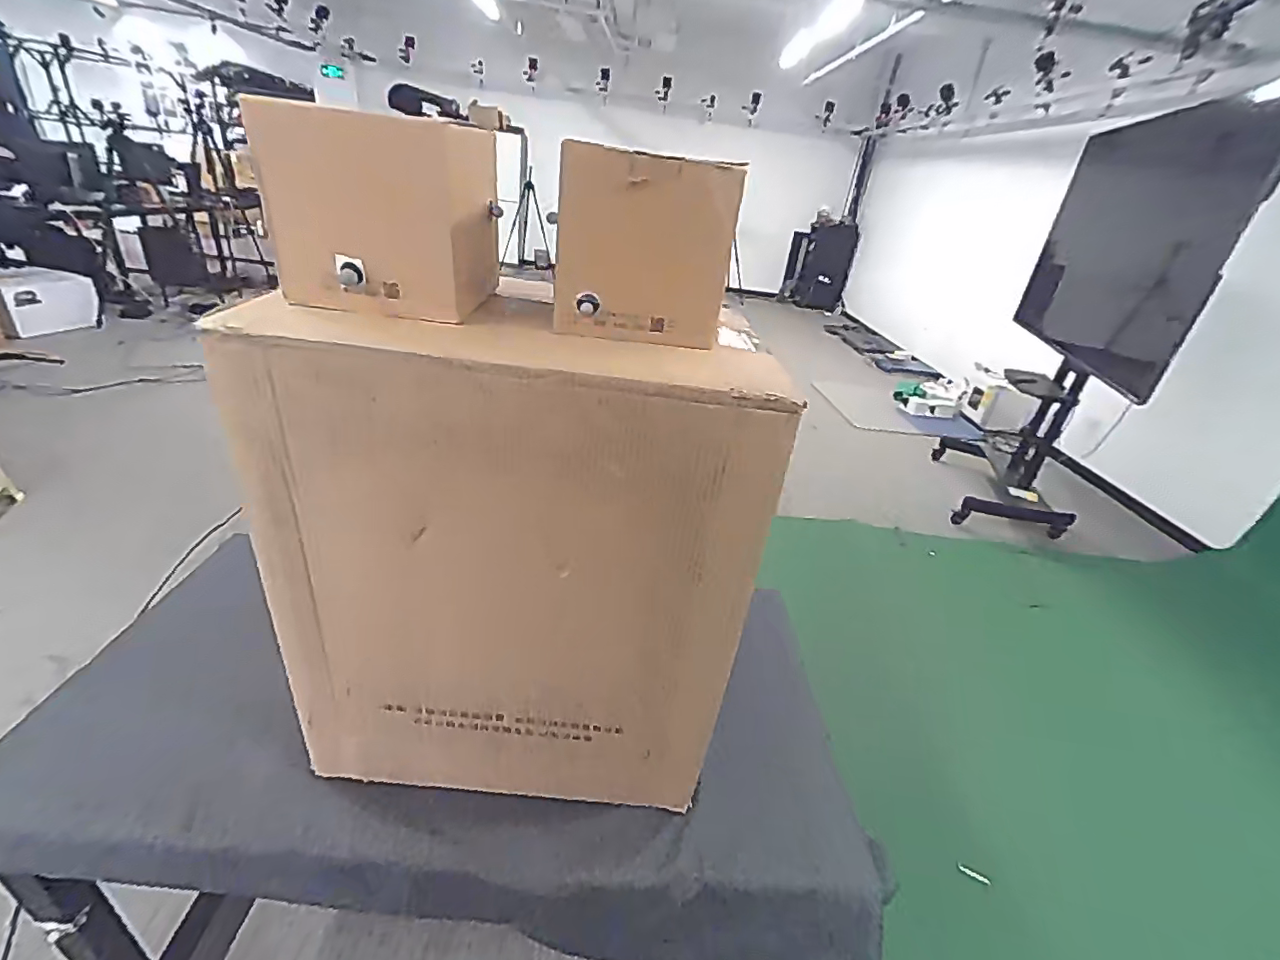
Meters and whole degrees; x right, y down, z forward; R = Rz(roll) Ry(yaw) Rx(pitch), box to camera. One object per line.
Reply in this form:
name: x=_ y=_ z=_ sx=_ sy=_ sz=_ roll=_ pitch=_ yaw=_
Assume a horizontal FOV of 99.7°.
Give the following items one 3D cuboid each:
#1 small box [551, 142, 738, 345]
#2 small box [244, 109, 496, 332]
small box: x=-0.007 y=-0.251 z=0.577 sx=0.168 sy=0.176 sz=0.179 roll=3 pitch=30 yaw=-7
small box: x=-0.246 y=-0.262 z=0.549 sx=0.168 sy=0.176 sz=0.179 roll=4 pitch=32 yaw=-3
